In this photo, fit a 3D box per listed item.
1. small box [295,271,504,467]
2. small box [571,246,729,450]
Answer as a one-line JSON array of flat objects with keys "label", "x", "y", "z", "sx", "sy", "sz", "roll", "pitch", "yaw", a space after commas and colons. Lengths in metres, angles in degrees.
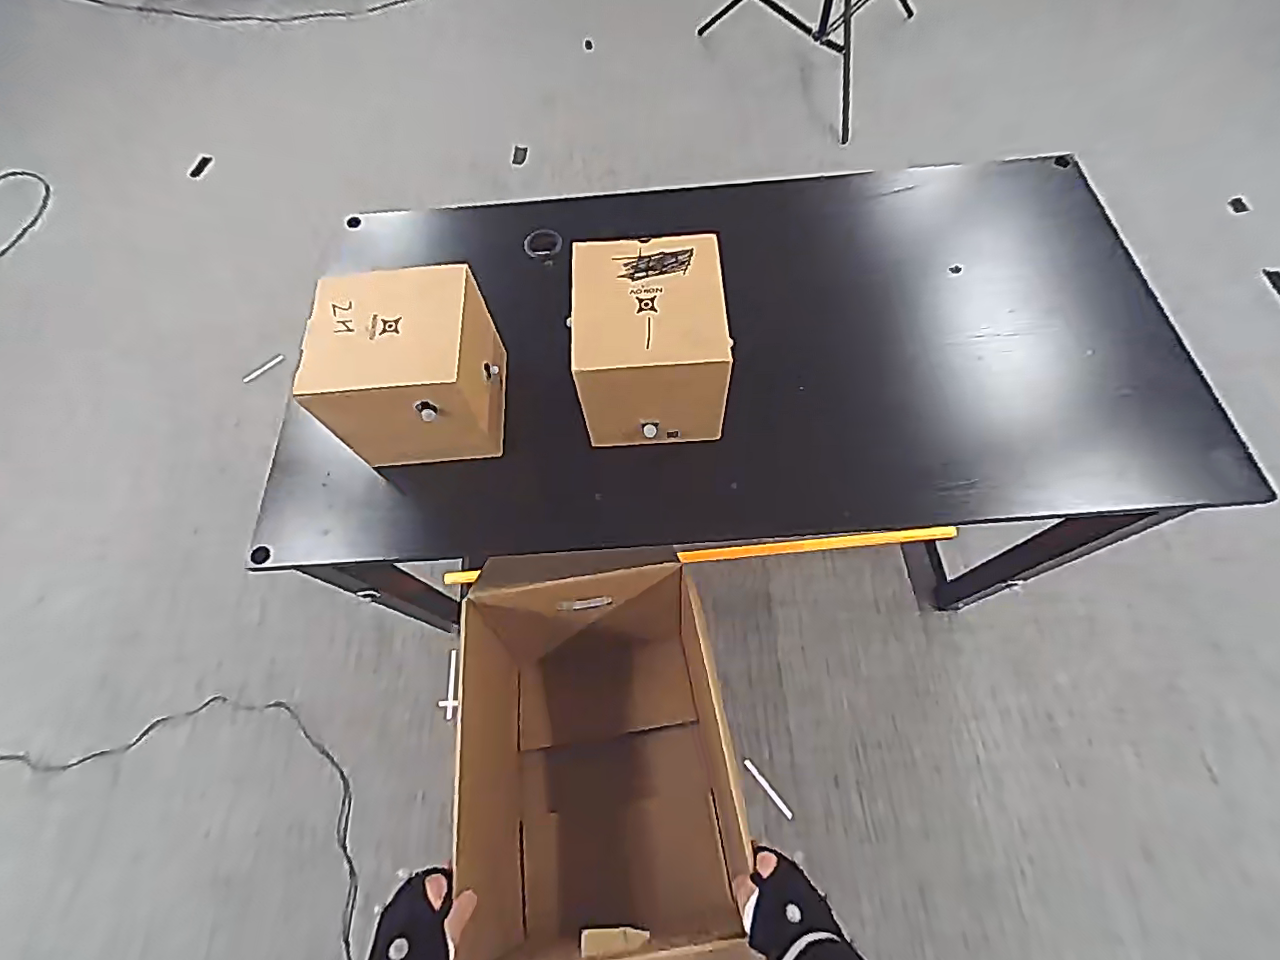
[{"label": "small box", "x": -0.273, "y": -0.127, "z": 0.663, "sx": 0.179, "sy": 0.176, "sz": 0.168, "roll": -5, "pitch": 64, "yaw": 1}, {"label": "small box", "x": 0.011, "y": -0.154, "z": 0.660, "sx": 0.168, "sy": 0.176, "sz": 0.179, "roll": -3, "pitch": 66, "yaw": 2}]
